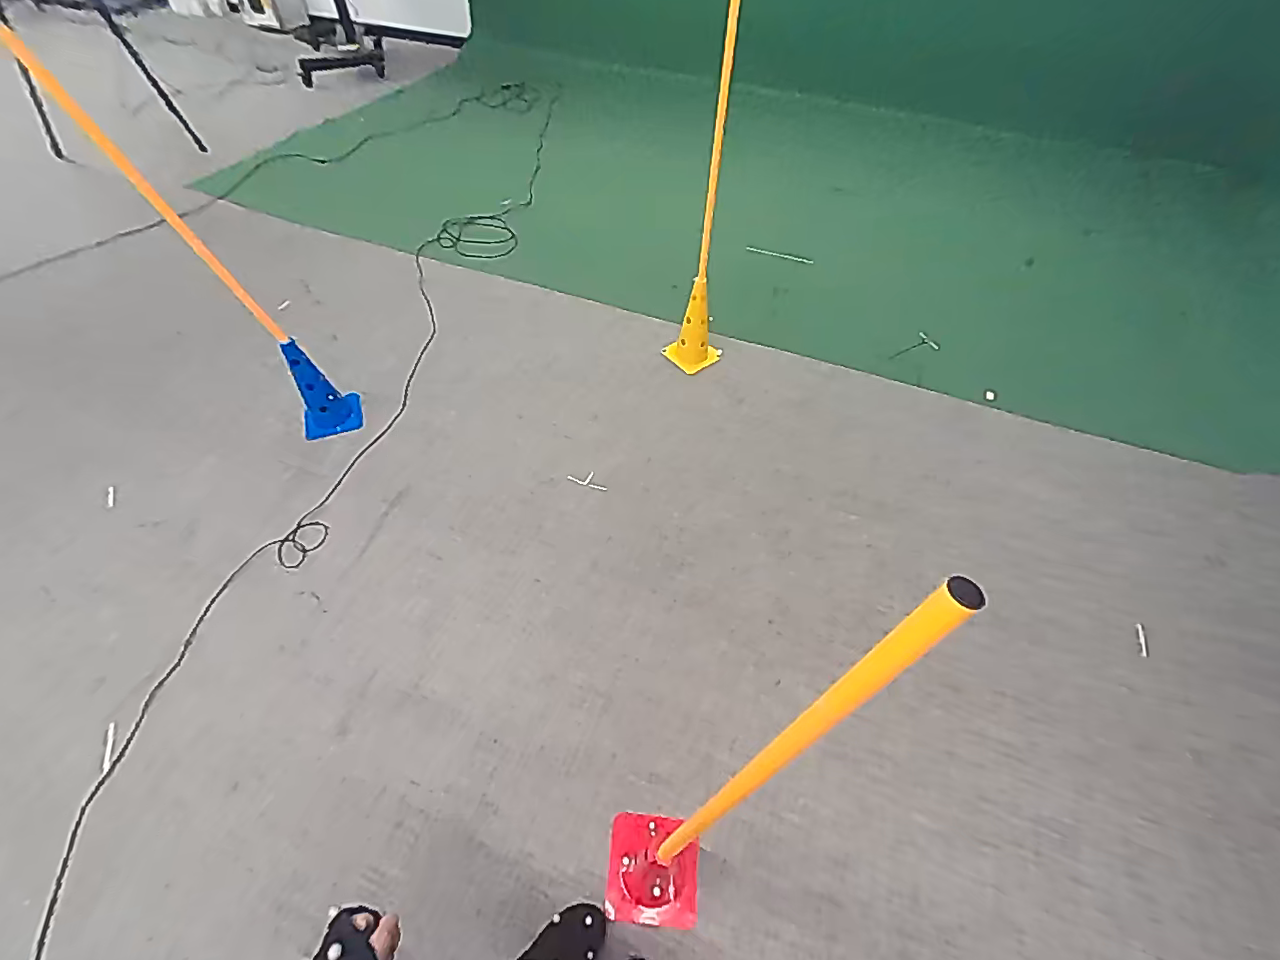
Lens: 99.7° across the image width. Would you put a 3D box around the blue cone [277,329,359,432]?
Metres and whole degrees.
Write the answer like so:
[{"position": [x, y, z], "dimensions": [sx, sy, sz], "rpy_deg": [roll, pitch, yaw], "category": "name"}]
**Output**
[{"position": [-1.152, -0.357, 1.887], "dimensions": [0.193, 0.380, 0.192], "rpy_deg": [-19, 56, -14], "category": "blue cone"}]
